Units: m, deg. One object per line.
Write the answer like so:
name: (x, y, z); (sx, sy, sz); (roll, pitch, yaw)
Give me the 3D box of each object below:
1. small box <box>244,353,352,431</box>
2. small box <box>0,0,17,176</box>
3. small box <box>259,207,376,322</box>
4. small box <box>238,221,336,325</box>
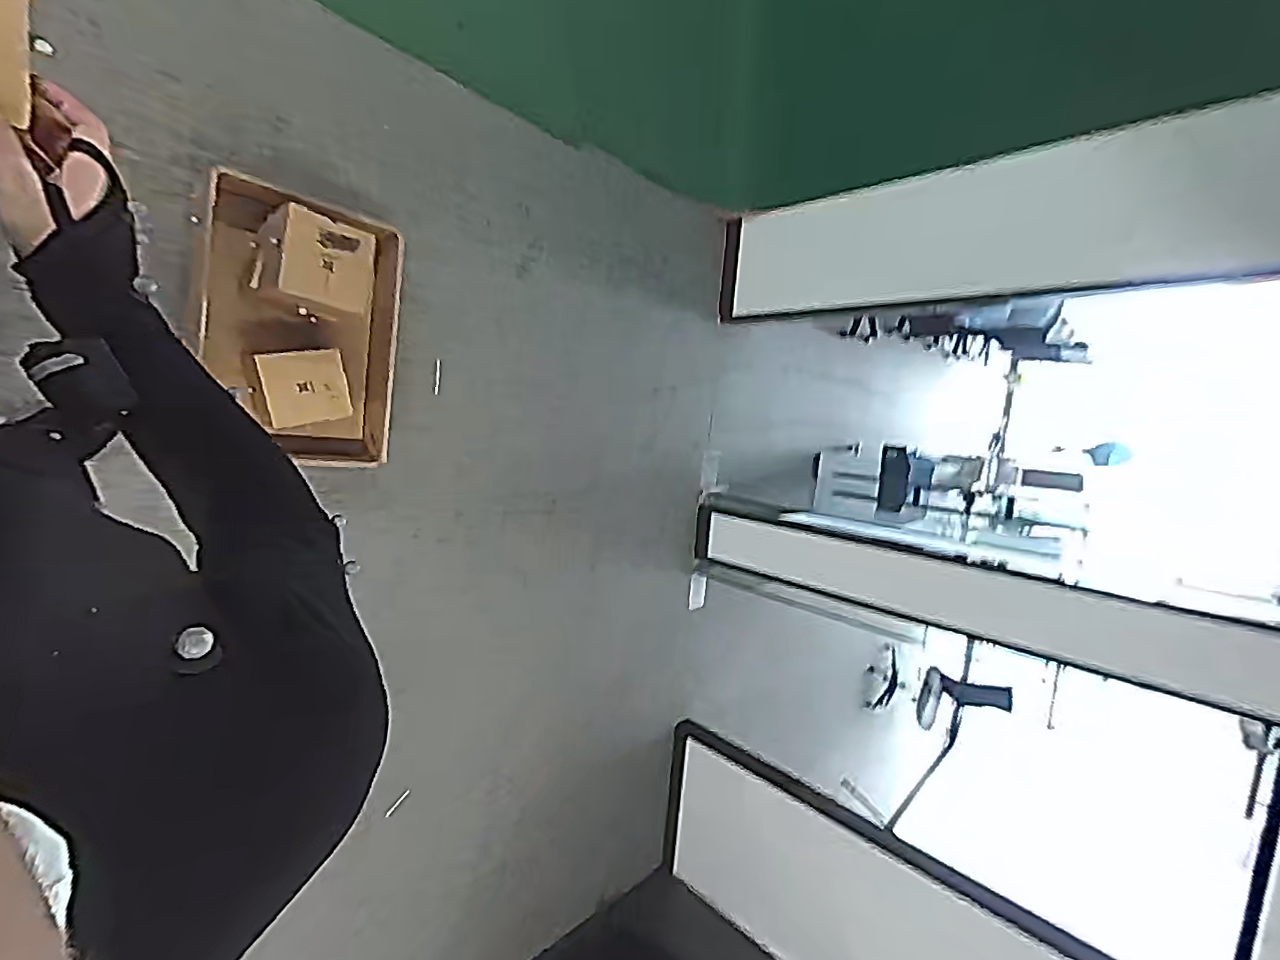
small box: (-0.833, -0.216, 1.310); (0.179, 0.176, 0.168); (-19, 111, -43)
small box: (-0.555, -0.341, 0.371); (0.168, 0.176, 0.179); (-3, 98, -51)
small box: (-0.698, -0.453, 1.168); (0.168, 0.176, 0.179); (8, 93, -48)
small box: (-0.816, -0.477, 1.279); (0.179, 0.176, 0.168); (19, 85, -48)
